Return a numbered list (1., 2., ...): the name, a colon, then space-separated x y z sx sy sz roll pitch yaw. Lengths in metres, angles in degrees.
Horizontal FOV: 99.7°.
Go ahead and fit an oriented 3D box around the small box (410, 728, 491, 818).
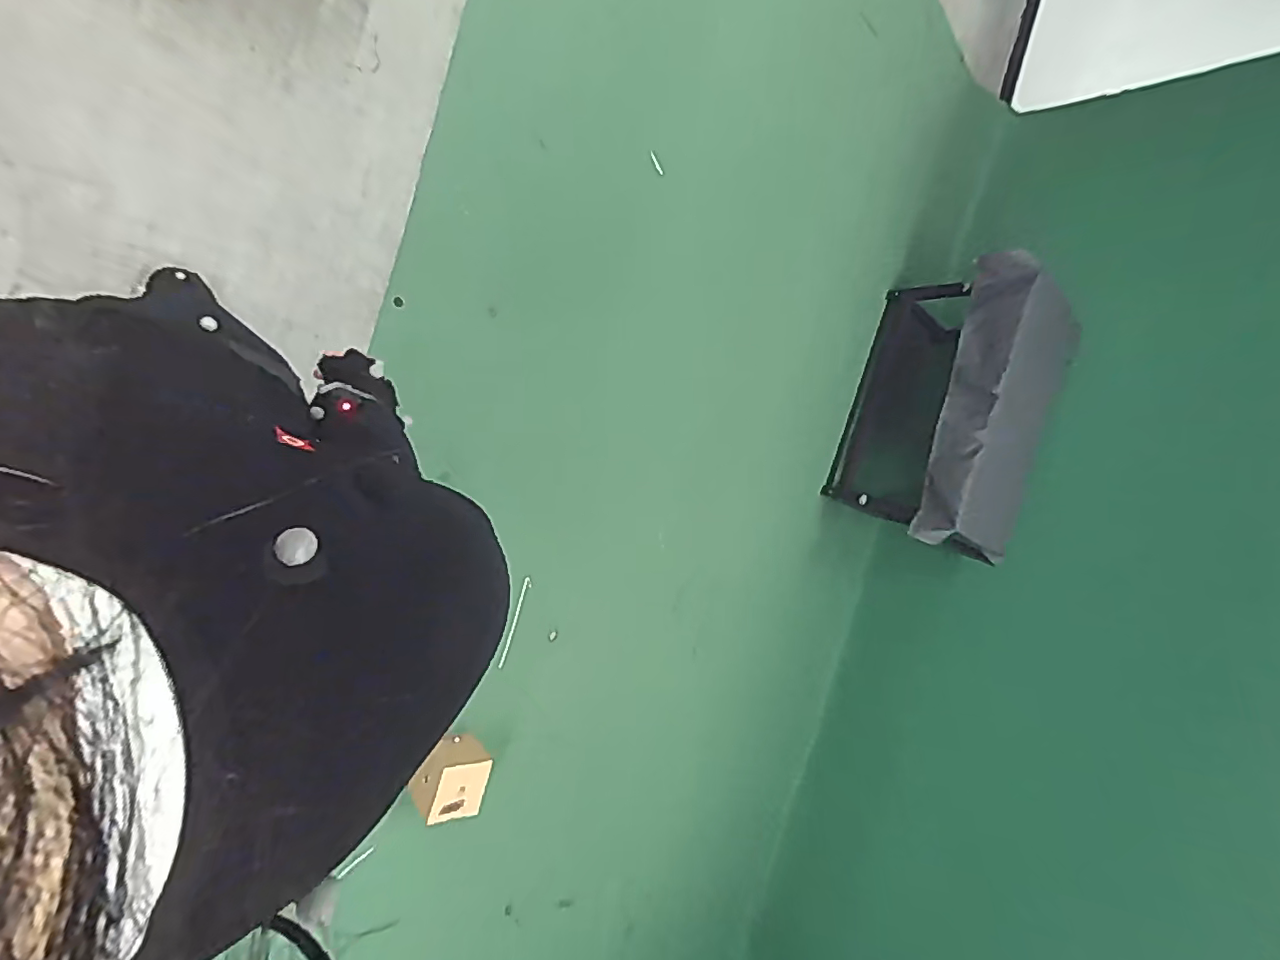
1. small box: -0.597 0.905 1.686 0.168 0.176 0.179 17 90 -44
